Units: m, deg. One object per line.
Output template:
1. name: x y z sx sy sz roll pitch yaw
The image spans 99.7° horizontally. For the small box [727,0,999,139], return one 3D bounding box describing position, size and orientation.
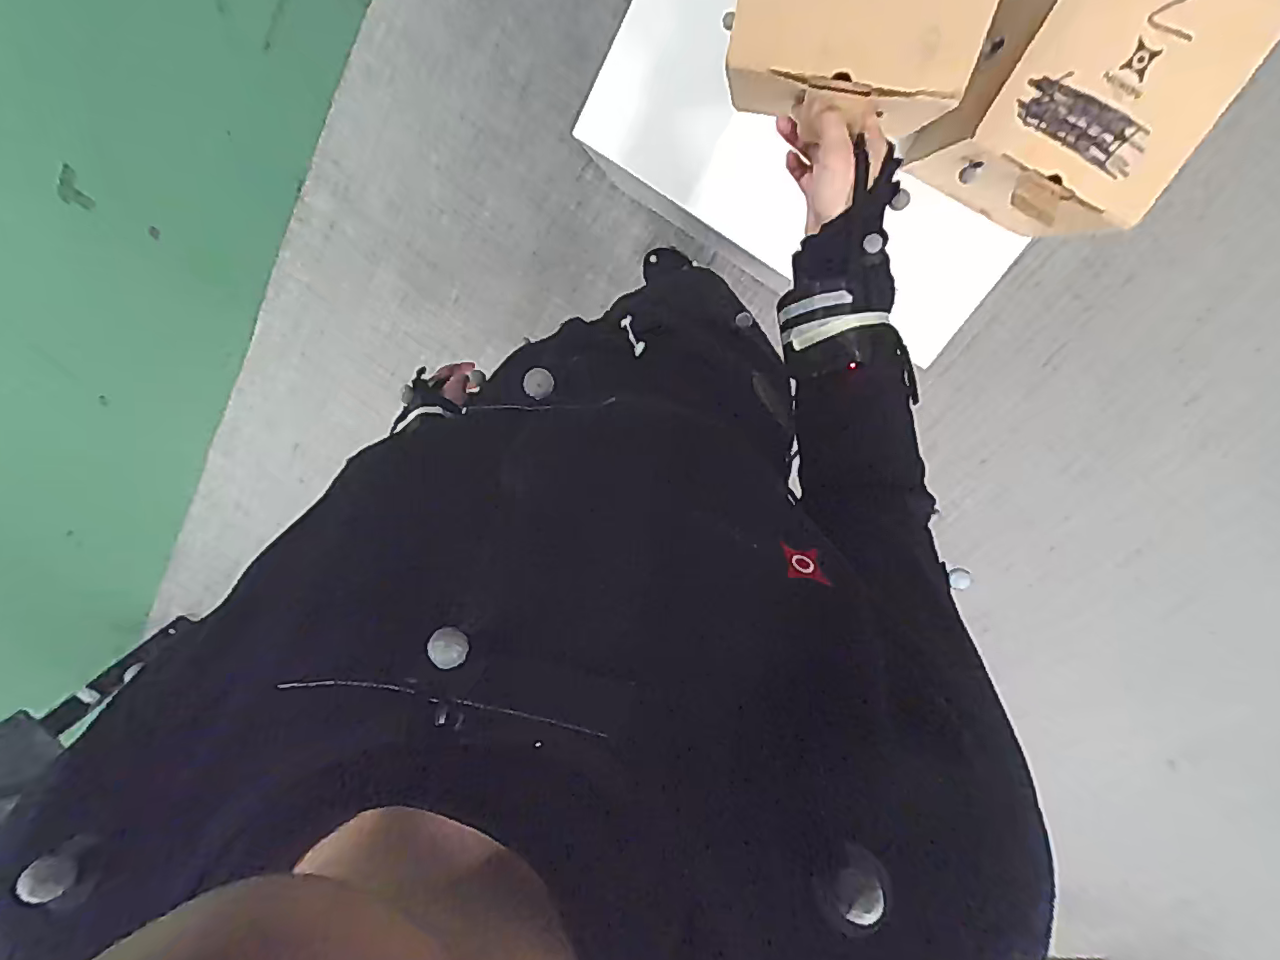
1. small box: 0.168 -0.378 0.411 0.168 0.176 0.179 12 115 5
